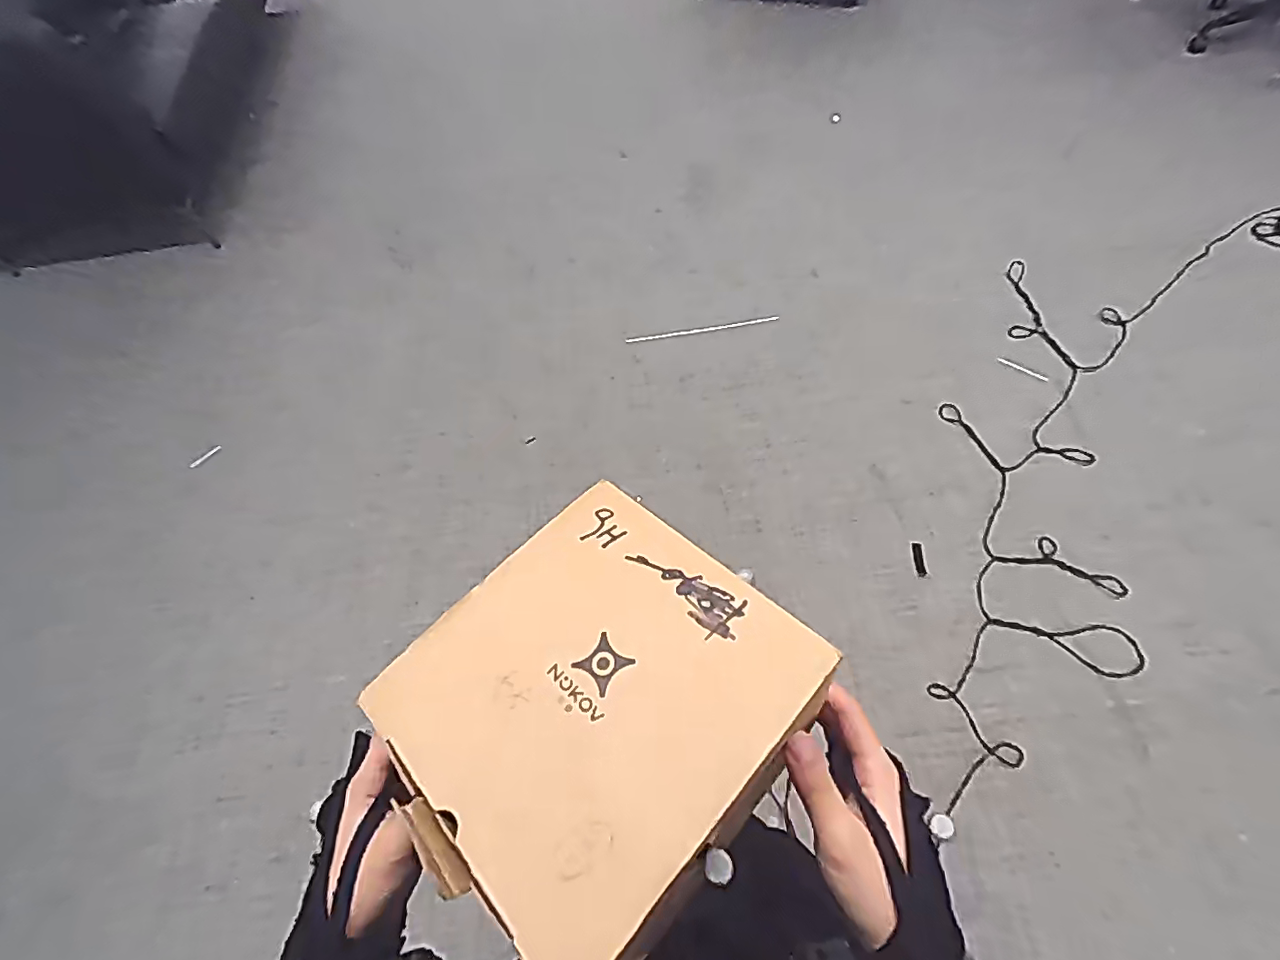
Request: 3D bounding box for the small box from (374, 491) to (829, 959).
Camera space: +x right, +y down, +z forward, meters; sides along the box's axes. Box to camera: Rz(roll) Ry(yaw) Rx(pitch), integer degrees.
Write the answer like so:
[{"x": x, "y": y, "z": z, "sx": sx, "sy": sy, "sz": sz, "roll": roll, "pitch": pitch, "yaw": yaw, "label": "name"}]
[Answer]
[{"x": -0.010, "y": 0.148, "z": 0.328, "sx": 0.168, "sy": 0.176, "sz": 0.179, "roll": 35, "pitch": 66, "yaw": 31, "label": "small box"}]
